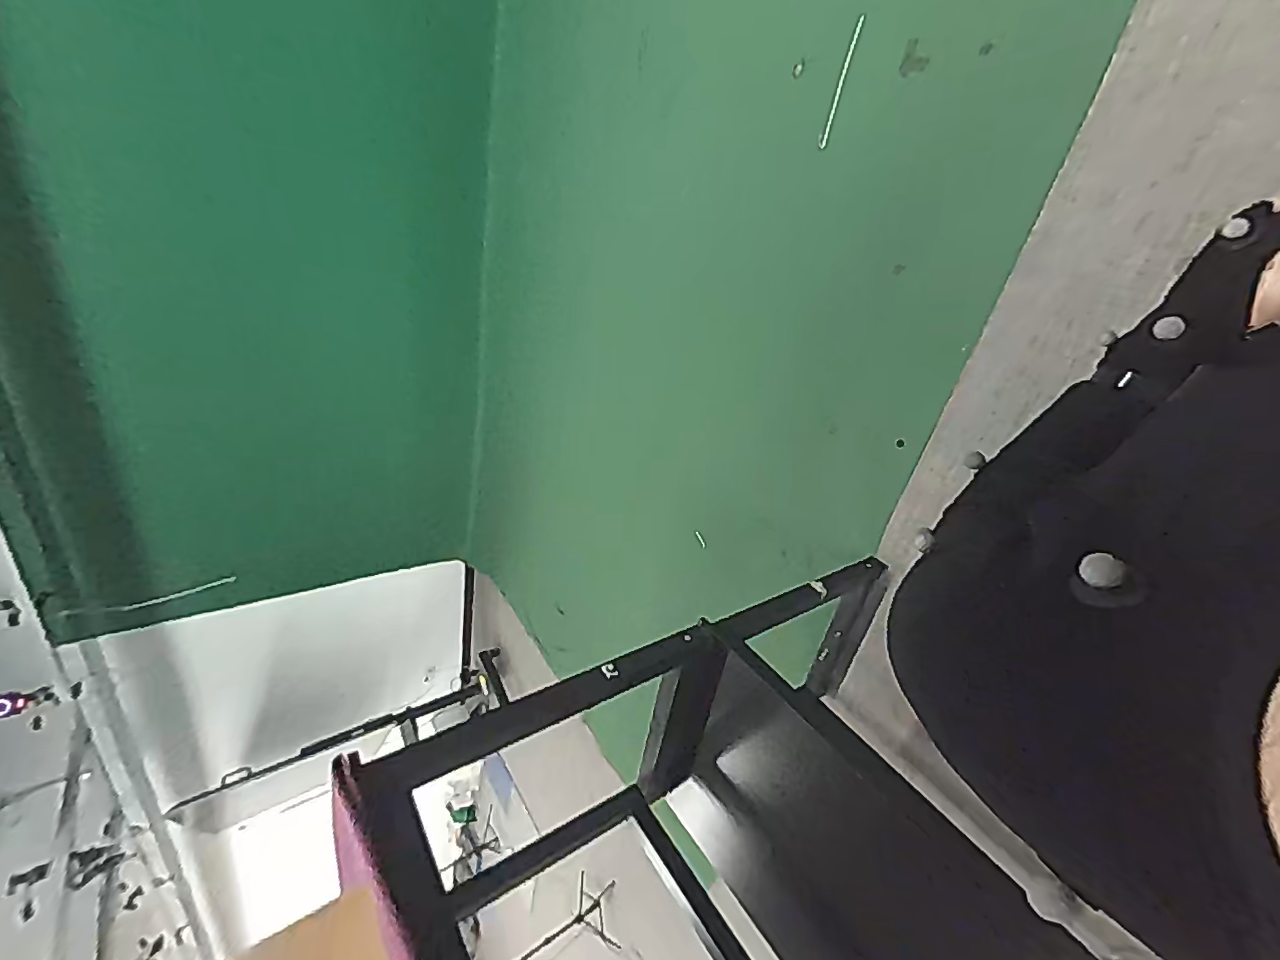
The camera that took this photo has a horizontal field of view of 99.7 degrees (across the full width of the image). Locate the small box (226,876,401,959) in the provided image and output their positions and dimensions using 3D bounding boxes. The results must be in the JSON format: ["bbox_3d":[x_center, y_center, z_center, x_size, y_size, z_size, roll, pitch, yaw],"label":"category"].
[{"bbox_3d":[-0.389,0.659,0.676,0.179,0.176,0.168,38,129,40],"label":"small box"}]
